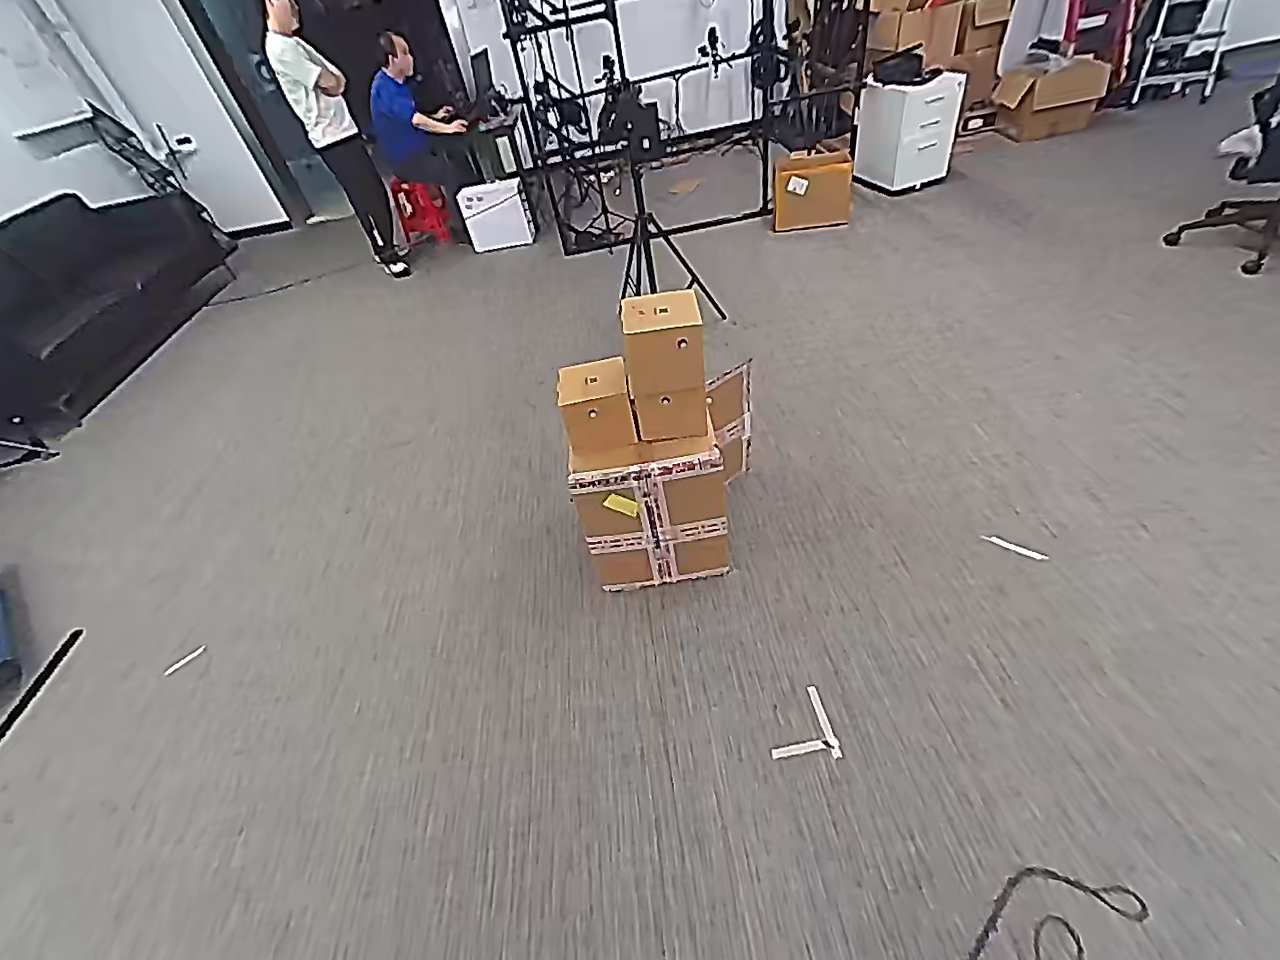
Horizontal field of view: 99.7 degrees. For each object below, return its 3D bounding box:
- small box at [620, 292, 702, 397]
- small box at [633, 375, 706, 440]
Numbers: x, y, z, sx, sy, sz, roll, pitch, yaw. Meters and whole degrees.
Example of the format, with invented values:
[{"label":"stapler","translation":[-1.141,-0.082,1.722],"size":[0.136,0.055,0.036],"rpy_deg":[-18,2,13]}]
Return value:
[{"label":"small box","translation":[0.051,-0.317,1.273],"size":[0.179,0.176,0.168],"rpy_deg":[-8,44,3]},{"label":"small box","translation":[0.076,-0.219,1.405],"size":[0.179,0.176,0.168],"rpy_deg":[-5,45,5]}]
